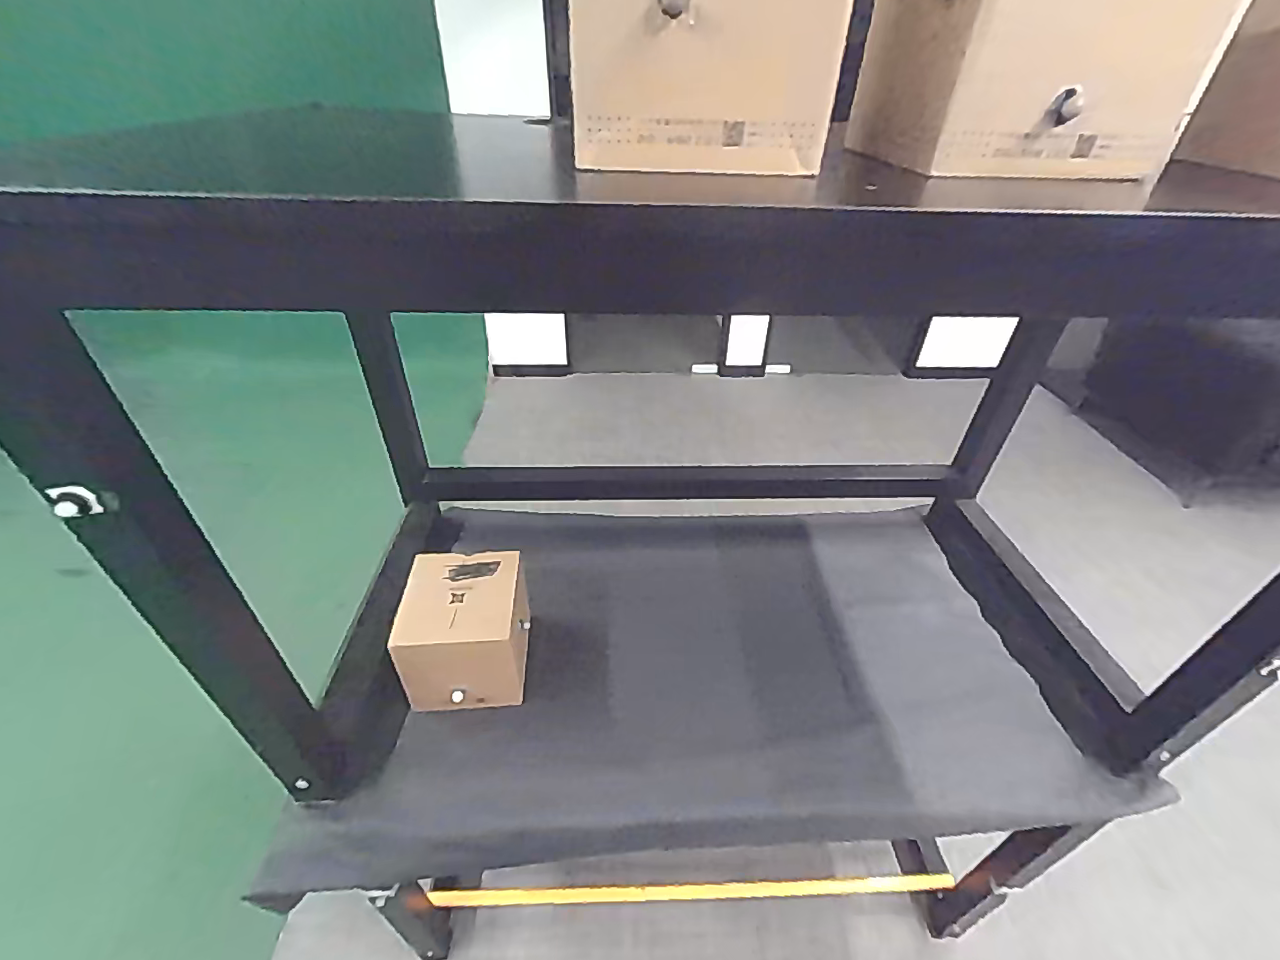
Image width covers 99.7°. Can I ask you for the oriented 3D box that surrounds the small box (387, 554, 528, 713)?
[{"bbox_3d":[-0.271,0.238,0.849,0.168,0.176,0.179,-2,37,-4],"label":"small box"}]

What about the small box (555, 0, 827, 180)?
[{"bbox_3d":[0.033,-0.320,0.388,0.168,0.176,0.179,1,36,0],"label":"small box"}]
